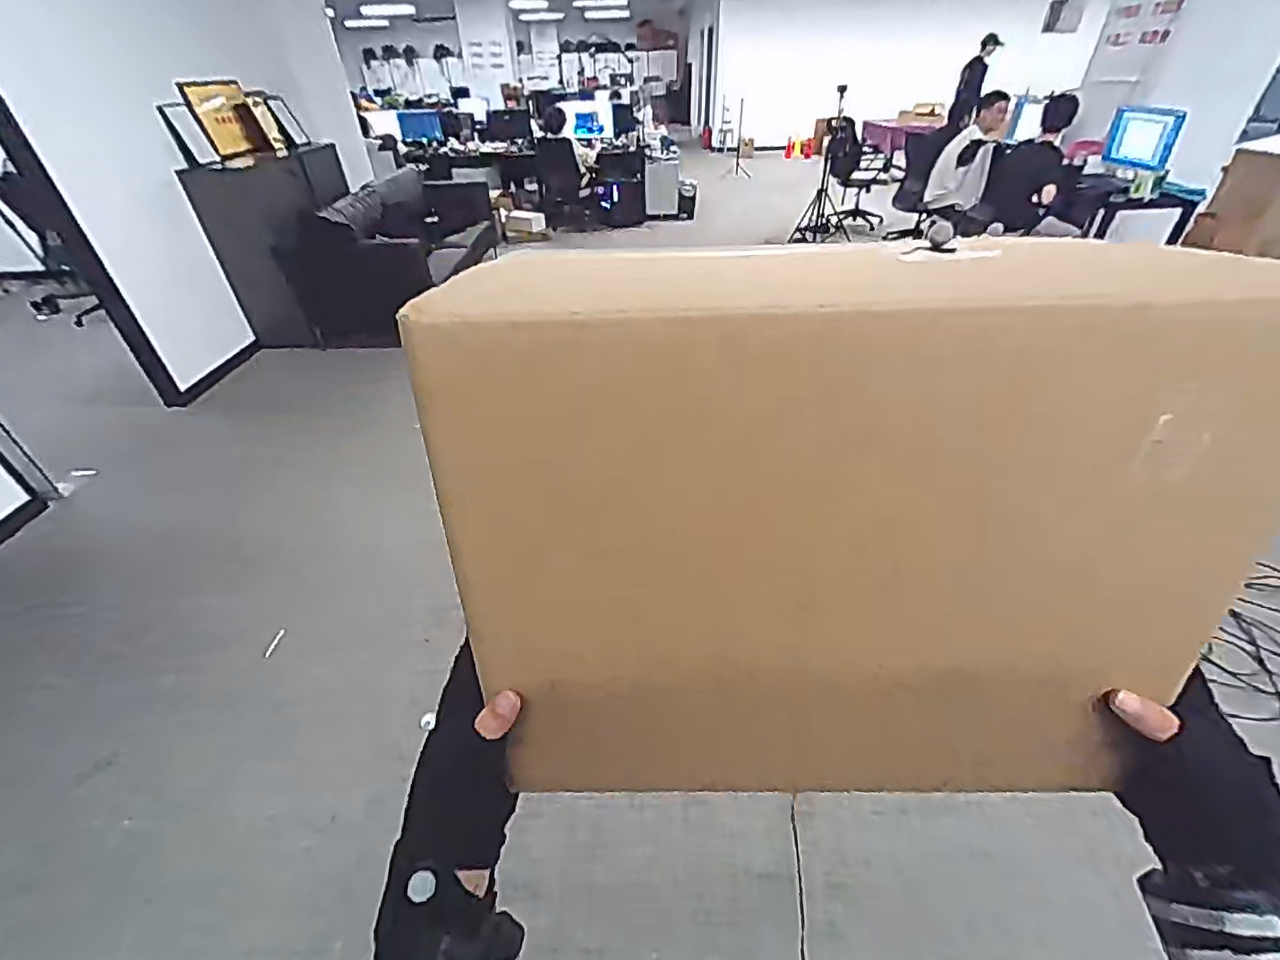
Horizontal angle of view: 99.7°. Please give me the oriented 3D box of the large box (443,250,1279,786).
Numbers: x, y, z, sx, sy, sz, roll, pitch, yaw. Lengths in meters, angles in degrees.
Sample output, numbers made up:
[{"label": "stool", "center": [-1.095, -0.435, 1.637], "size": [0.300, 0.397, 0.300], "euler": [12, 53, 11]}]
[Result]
[{"label": "large box", "center": [0.112, -0.001, 0.423], "size": [0.408, 0.320, 0.320], "euler": [0, 28, 0]}]
